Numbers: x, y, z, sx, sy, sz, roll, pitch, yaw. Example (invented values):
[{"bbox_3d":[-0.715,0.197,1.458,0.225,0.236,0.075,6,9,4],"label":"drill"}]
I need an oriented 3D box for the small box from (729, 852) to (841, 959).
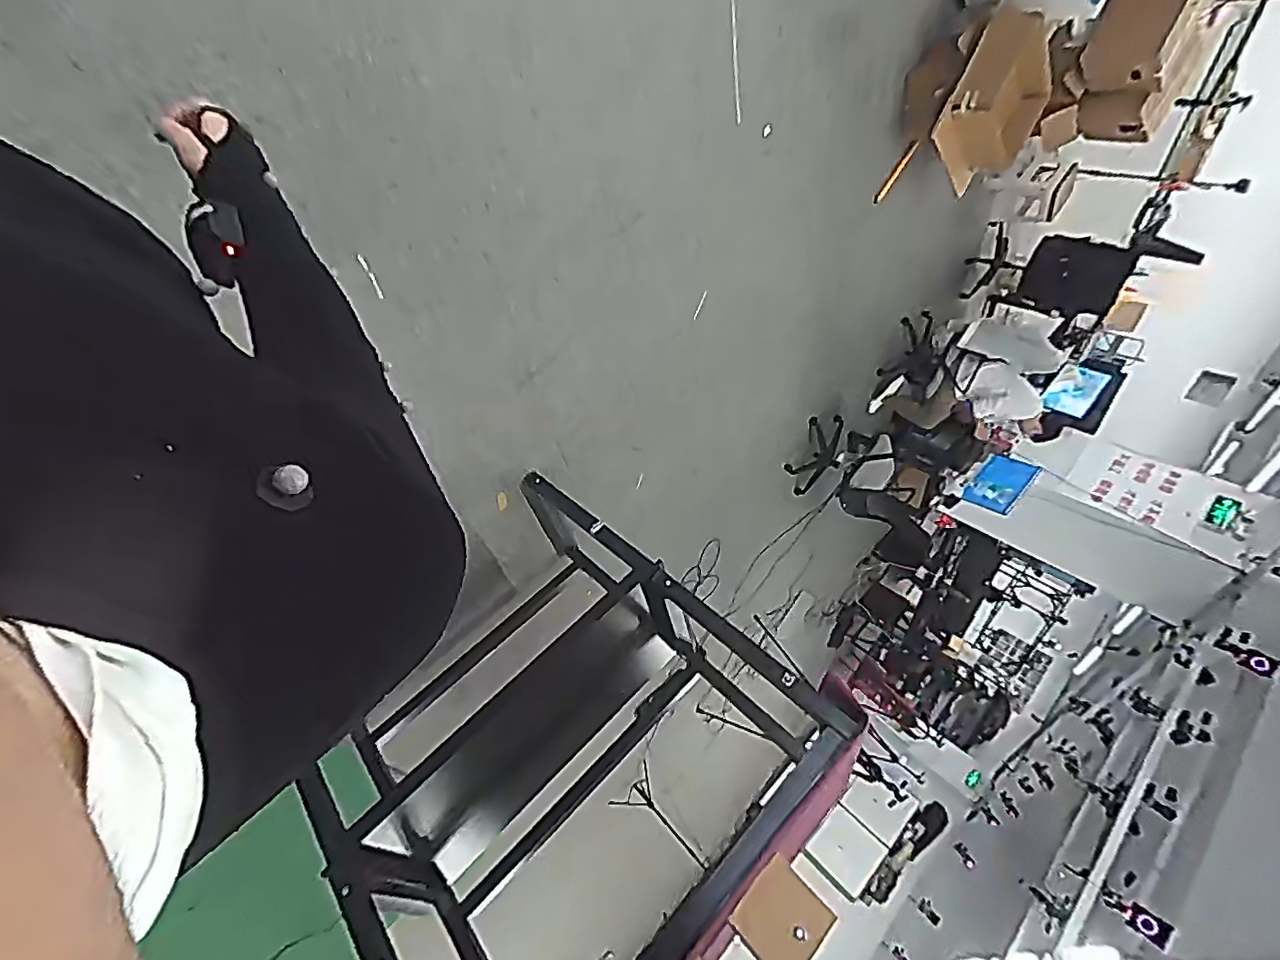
[{"bbox_3d":[0.318,0.981,1.210,0.179,0.176,0.168,-37,141,-23],"label":"small box"}]
